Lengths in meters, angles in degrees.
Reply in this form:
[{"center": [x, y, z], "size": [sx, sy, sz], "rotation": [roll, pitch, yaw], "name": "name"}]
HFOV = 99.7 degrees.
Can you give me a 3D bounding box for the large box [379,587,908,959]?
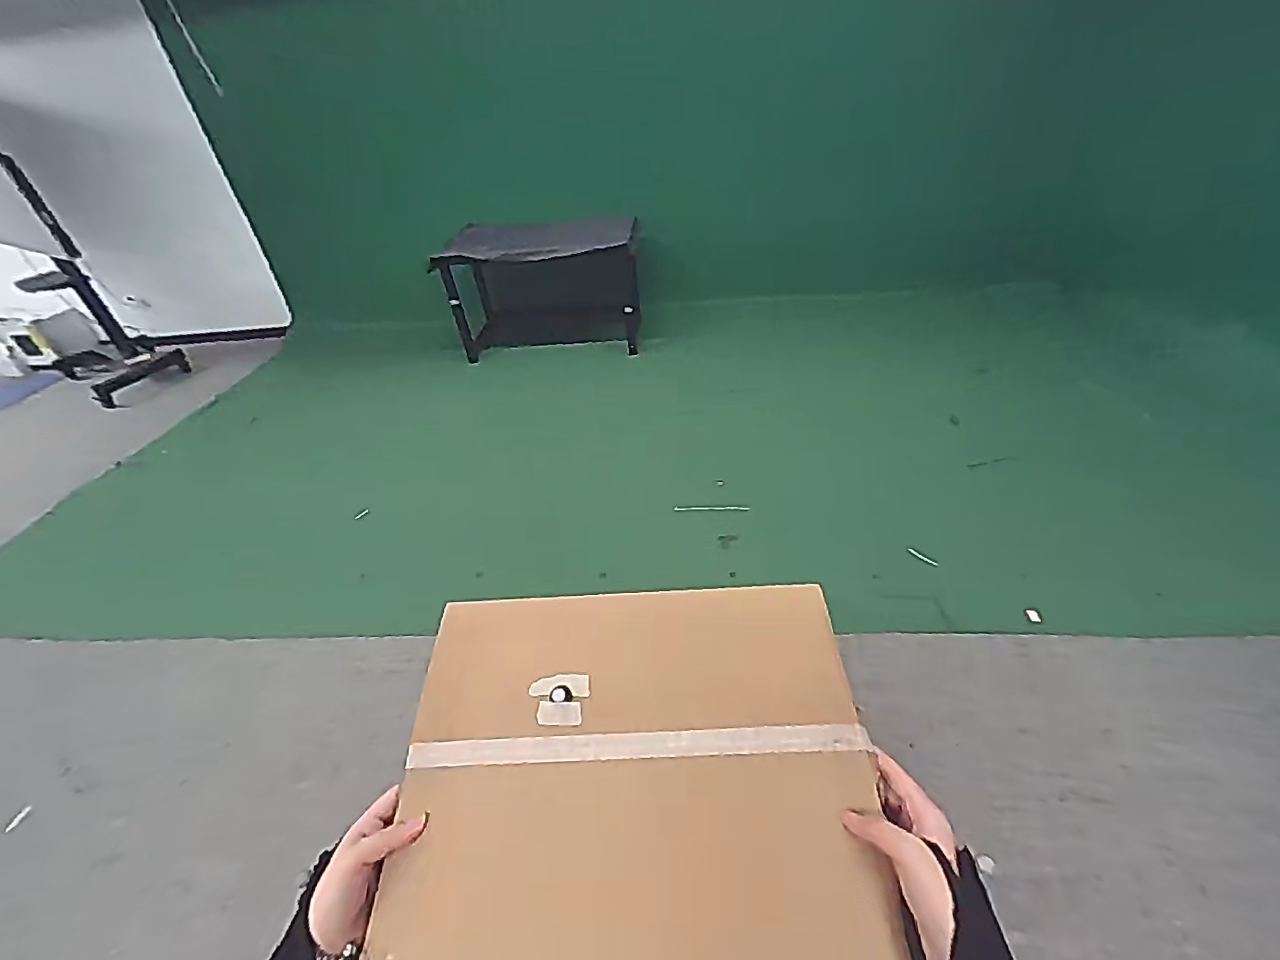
[{"center": [0.009, 0.346, 0.604], "size": [0.408, 0.320, 0.320], "rotation": [-5, 48, 4], "name": "large box"}]
